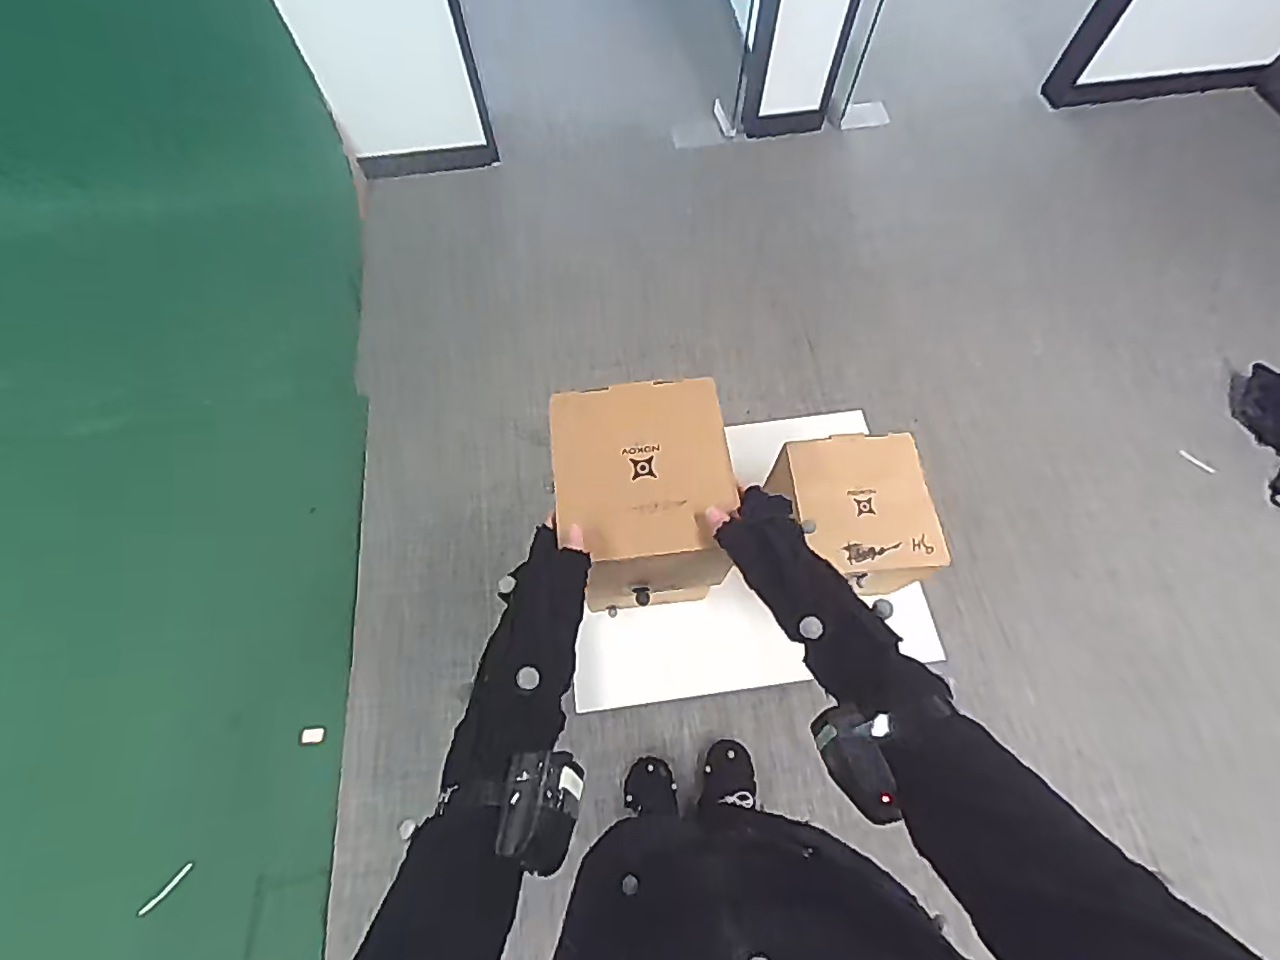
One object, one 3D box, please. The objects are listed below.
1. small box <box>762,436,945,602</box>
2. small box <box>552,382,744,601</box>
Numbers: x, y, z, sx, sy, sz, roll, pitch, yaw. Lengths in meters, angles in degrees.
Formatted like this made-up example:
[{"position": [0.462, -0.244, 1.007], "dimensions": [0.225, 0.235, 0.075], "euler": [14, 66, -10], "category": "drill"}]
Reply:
[{"position": [0.271, 0.059, 0.735], "dimensions": [0.168, 0.176, 0.179], "euler": [-4, 66, 0], "category": "small box"}, {"position": [0.003, 0.020, 0.579], "dimensions": [0.168, 0.176, 0.179], "euler": [-7, 68, -2], "category": "small box"}]
